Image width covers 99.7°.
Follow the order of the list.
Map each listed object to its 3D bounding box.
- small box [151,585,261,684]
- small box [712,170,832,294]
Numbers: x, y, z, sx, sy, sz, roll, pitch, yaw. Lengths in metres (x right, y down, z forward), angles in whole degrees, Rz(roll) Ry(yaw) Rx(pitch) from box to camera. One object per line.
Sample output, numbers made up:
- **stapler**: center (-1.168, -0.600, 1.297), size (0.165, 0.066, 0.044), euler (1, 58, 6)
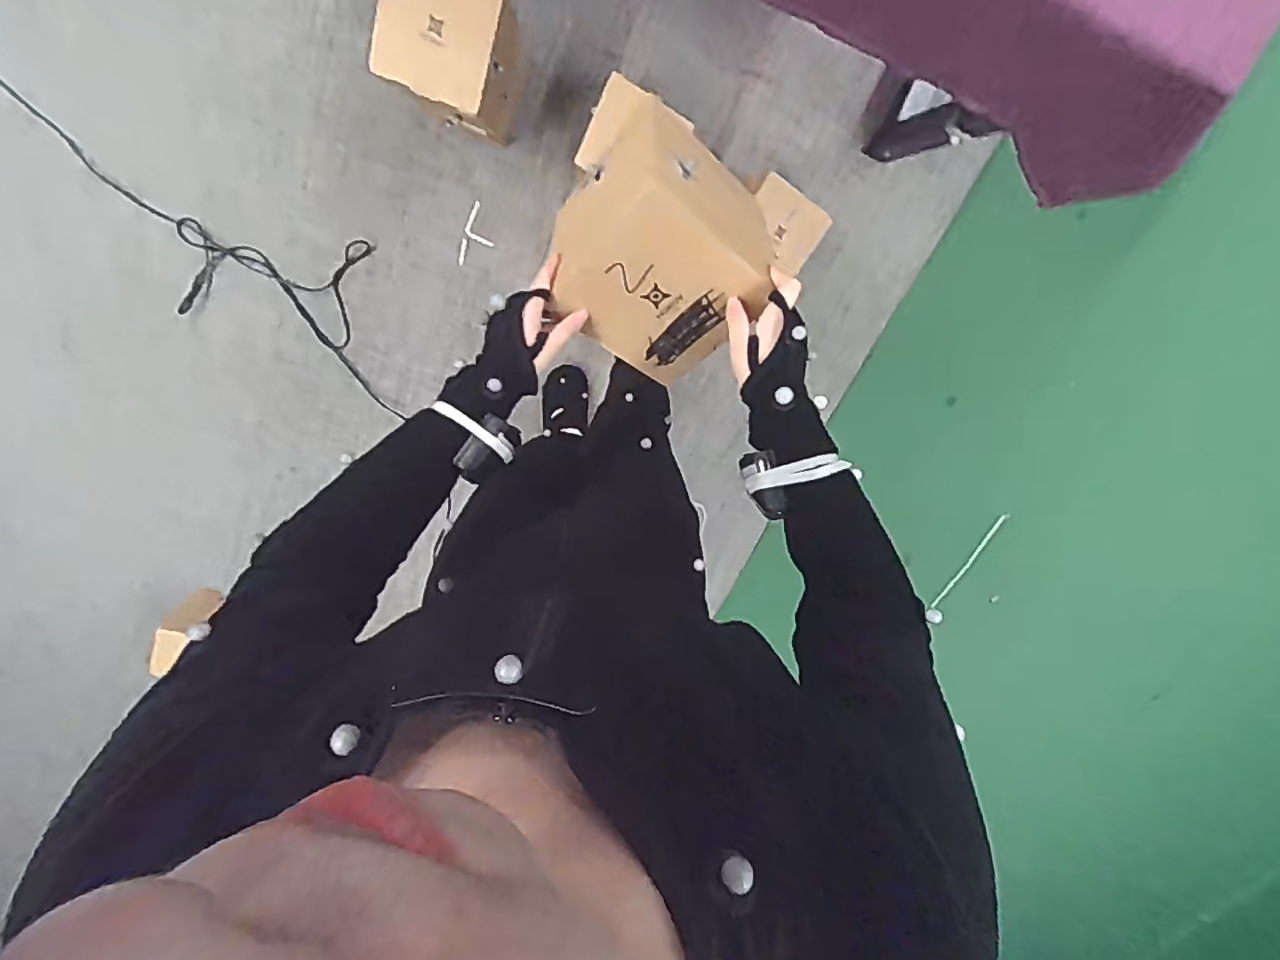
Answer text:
- **small box**: center (-1.196, 0.424, 1.502), size (0.168, 0.176, 0.179), euler (24, 110, -13)
- **small box**: center (0.272, -0.528, 1.165), size (0.168, 0.176, 0.179), euler (30, 109, -16)
